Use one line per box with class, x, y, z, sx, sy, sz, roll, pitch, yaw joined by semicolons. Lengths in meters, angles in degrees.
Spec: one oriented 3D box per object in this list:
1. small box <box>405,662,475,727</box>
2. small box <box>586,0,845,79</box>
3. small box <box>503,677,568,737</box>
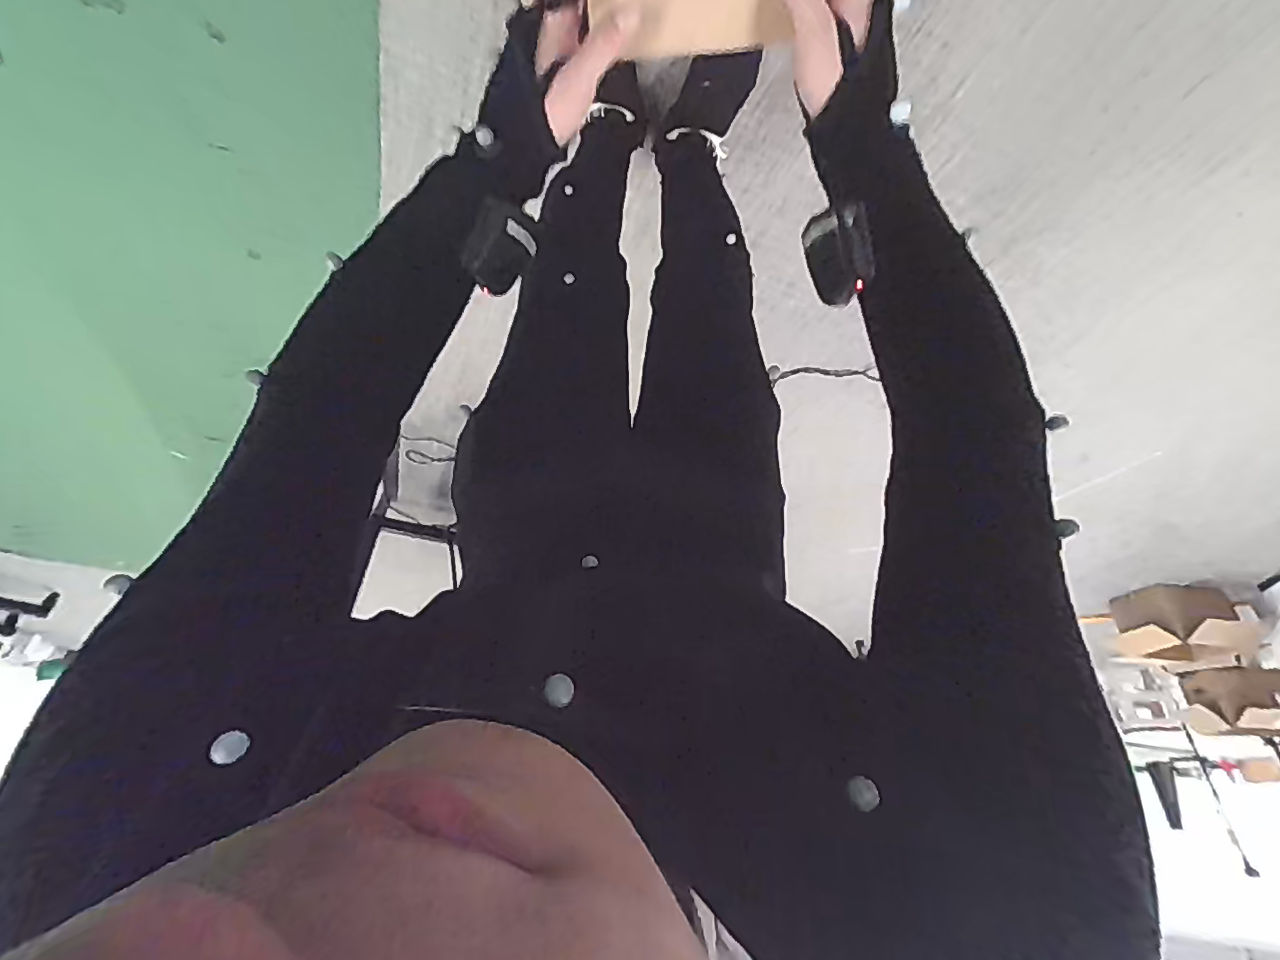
small box;-0.666;0.714;1.803;0.179;0.176;0.168;15;146;-20
small box;0.045;-0.409;0.359;0.179;0.176;0.168;-6;154;-2
small box;-0.368;0.802;1.915;0.179;0.176;0.168;16;146;-19
